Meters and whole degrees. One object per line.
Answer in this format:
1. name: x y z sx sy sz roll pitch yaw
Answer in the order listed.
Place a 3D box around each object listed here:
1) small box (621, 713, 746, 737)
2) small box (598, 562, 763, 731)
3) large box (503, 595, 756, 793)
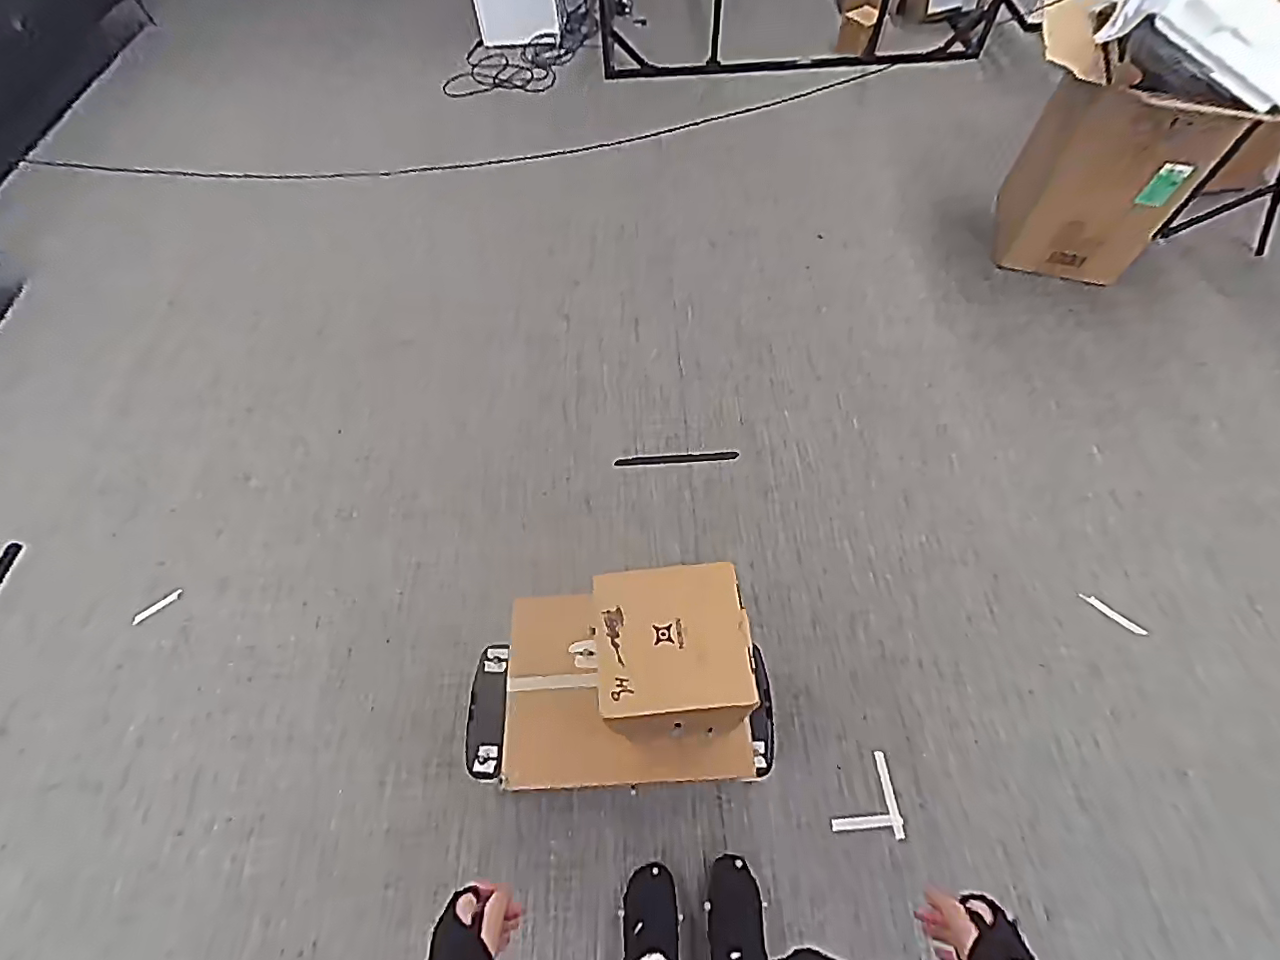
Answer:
1. small box: 0.054 0.293 0.827 0.179 0.176 0.168 -5 60 0
2. small box: 0.041 0.214 0.683 0.179 0.176 0.168 -4 59 -1
3. large box: -0.016 0.413 1.043 0.408 0.320 0.320 -4 59 1
